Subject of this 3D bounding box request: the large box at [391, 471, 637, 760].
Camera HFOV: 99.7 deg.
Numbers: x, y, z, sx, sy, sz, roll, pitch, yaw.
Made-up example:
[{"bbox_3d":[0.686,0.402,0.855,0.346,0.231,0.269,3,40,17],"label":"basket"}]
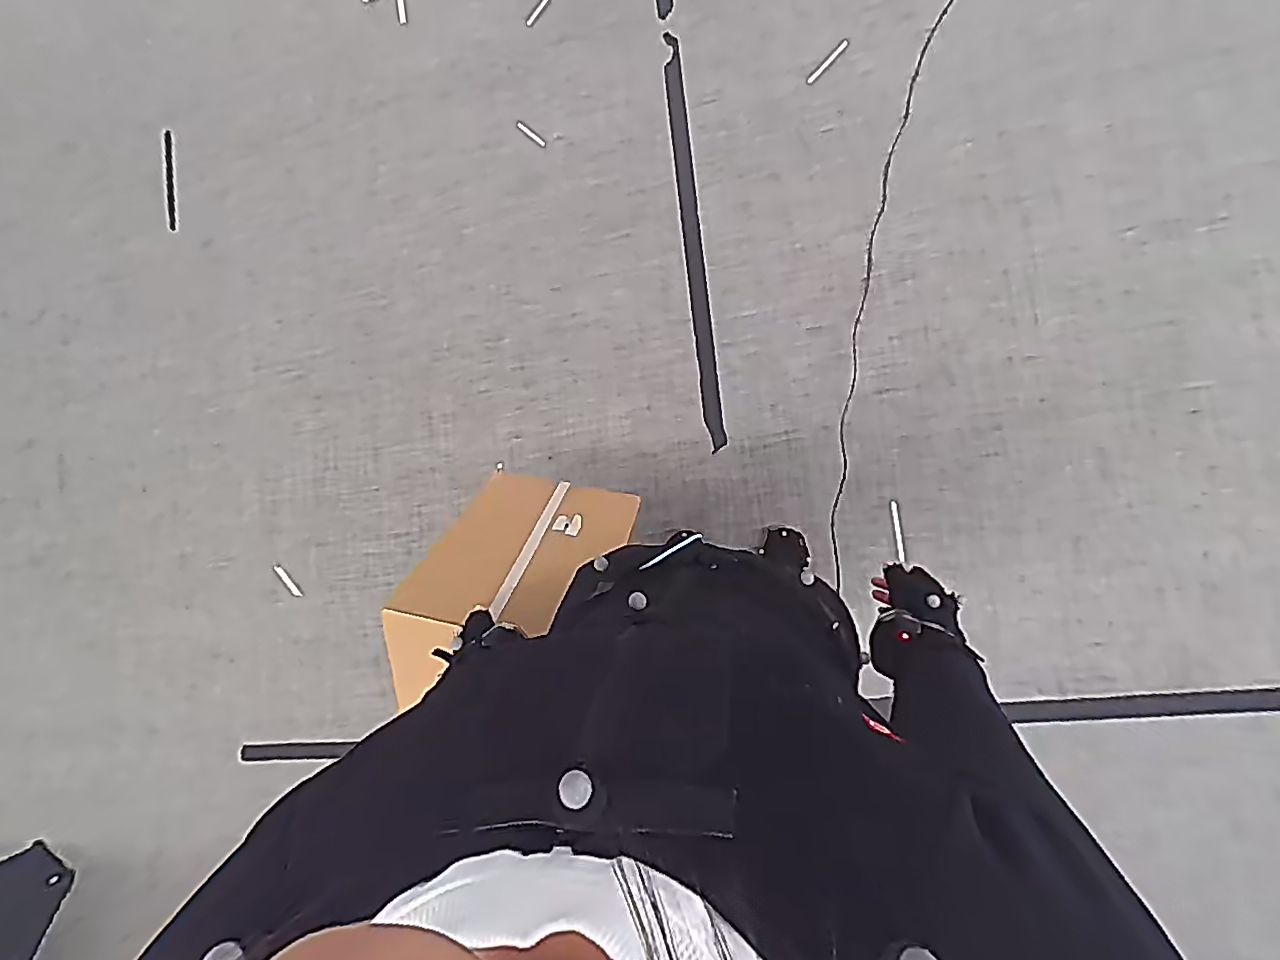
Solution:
[{"bbox_3d":[-0.204,0.235,1.025,0.320,0.408,0.320,12,123,5],"label":"large box"}]
